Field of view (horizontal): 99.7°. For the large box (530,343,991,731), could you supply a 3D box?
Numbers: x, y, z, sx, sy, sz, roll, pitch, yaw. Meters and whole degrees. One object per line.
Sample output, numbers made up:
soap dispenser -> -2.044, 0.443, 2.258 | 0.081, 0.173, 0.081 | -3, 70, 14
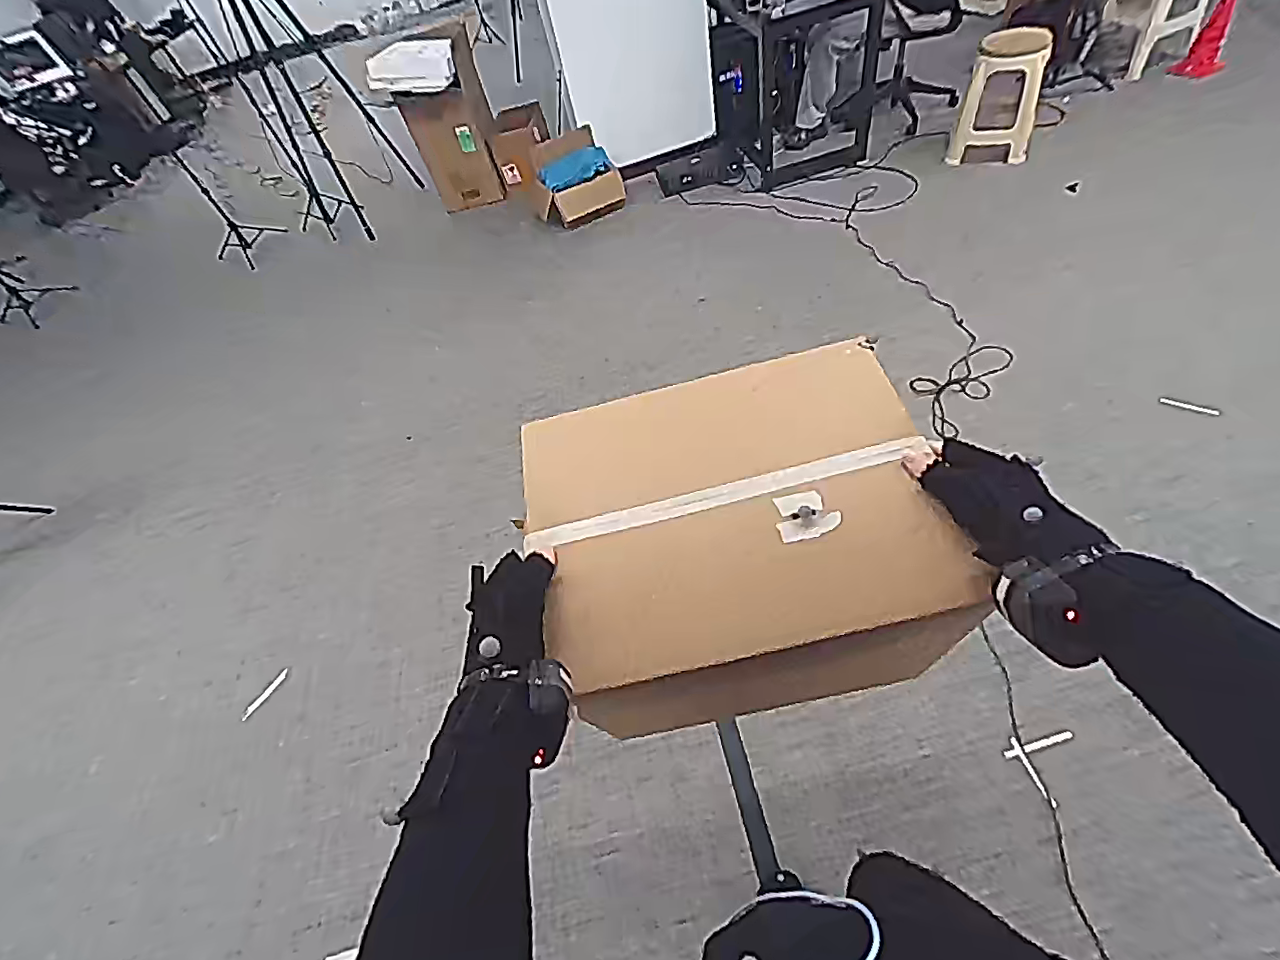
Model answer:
large box -> 0.111, 0.090, 0.679 | 0.408, 0.320, 0.320 | -14, 58, 3
